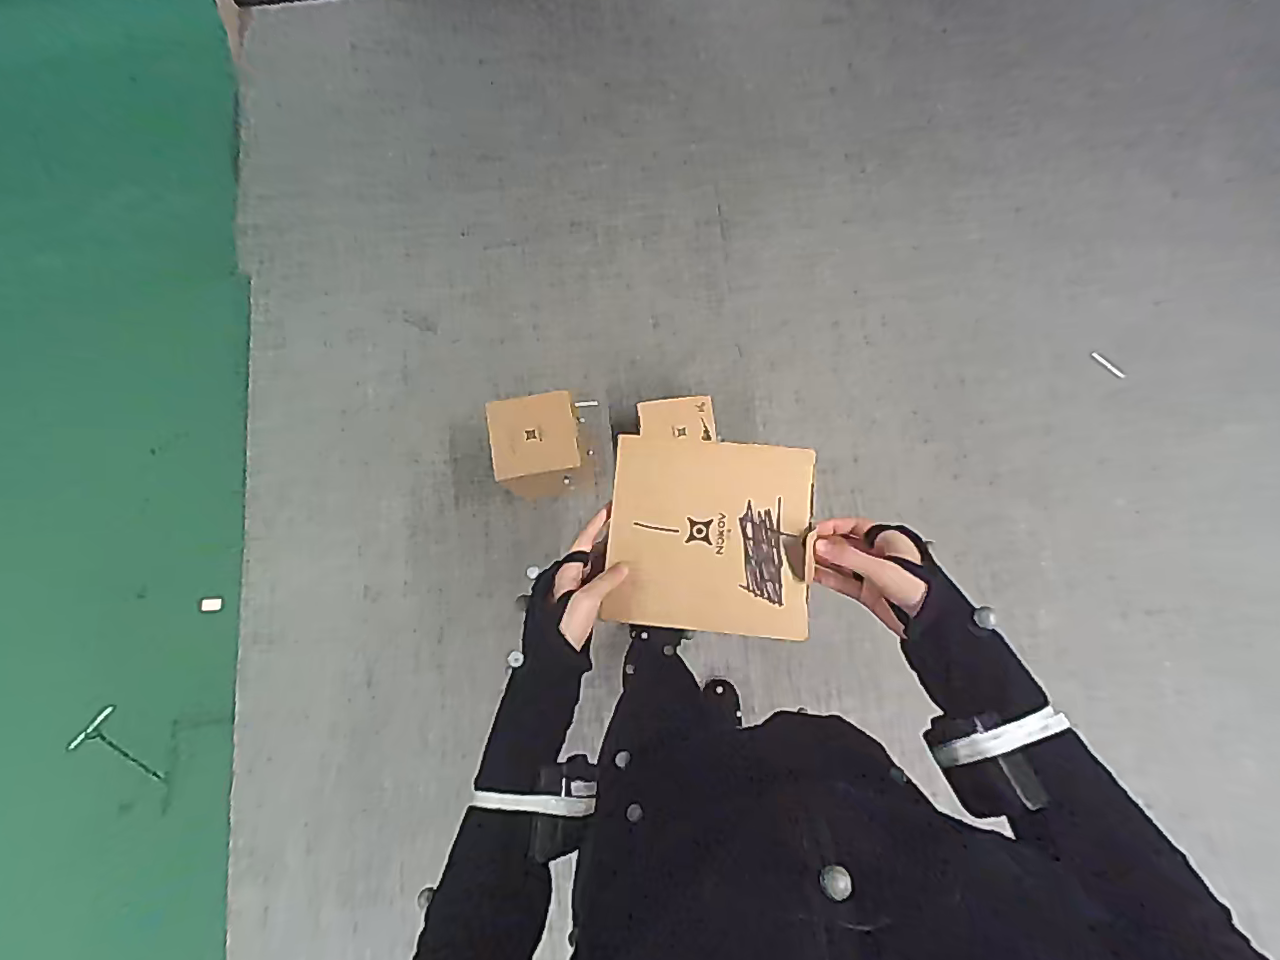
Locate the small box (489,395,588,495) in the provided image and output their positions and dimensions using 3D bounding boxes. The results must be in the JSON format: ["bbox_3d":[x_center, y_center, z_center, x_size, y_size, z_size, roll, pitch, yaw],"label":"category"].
[{"bbox_3d":[-0.213,-0.069,1.176,0.179,0.176,0.168,-10,79,0],"label":"small box"}]

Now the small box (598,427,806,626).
[{"bbox_3d":[0.062,0.052,0.559,0.179,0.176,0.168,4,79,6],"label":"small box"}]

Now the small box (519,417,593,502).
[{"bbox_3d":[-0.214,-0.048,1.339,0.179,0.176,0.168,-10,79,0],"label":"small box"}]
